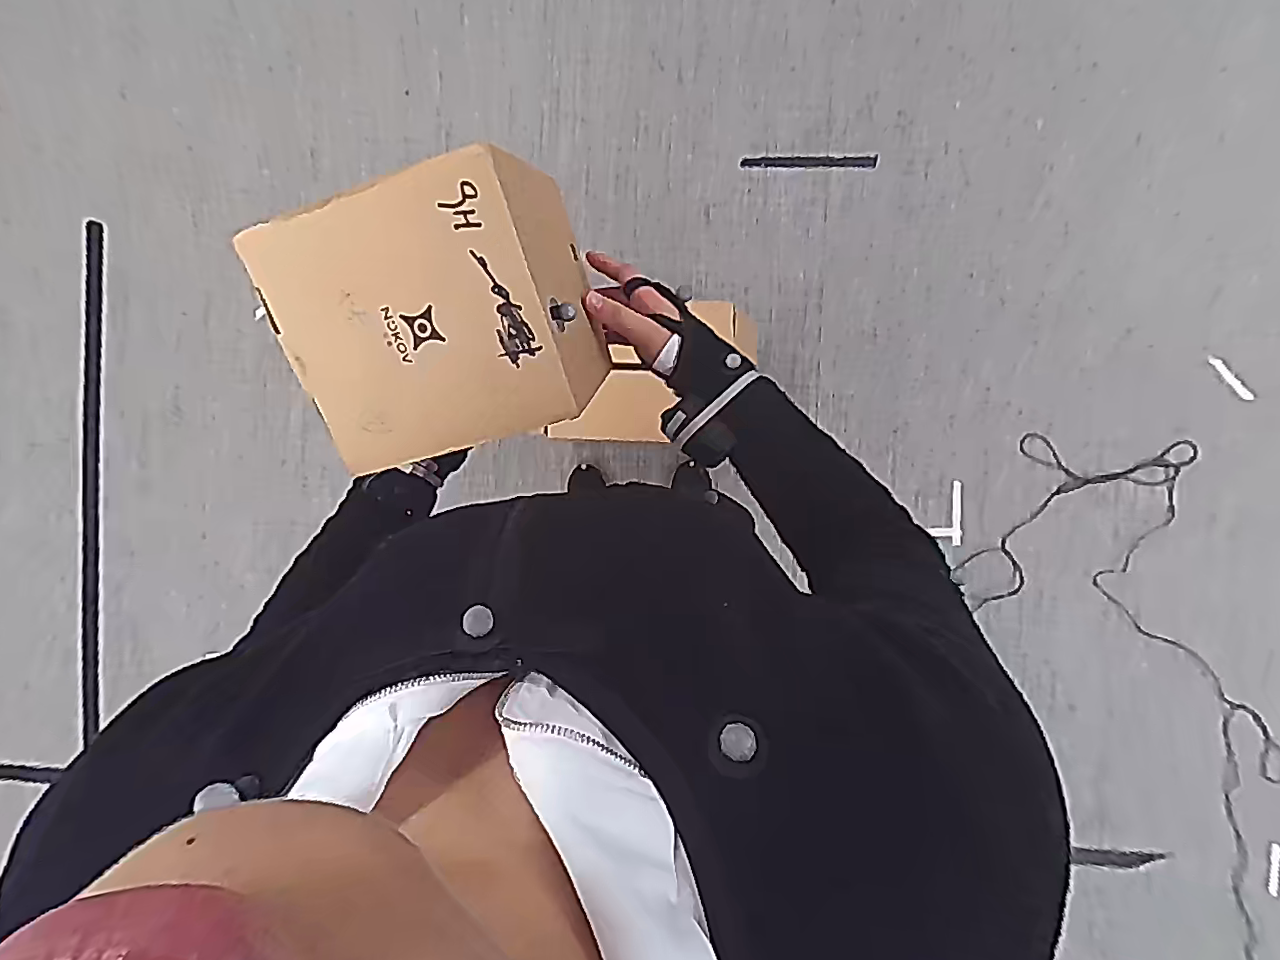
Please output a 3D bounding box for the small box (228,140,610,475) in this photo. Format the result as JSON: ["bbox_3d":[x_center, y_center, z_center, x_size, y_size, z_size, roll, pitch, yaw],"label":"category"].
[{"bbox_3d":[-0.136,-0.123,0.406,0.179,0.176,0.168,-13,111,11],"label":"small box"}]
